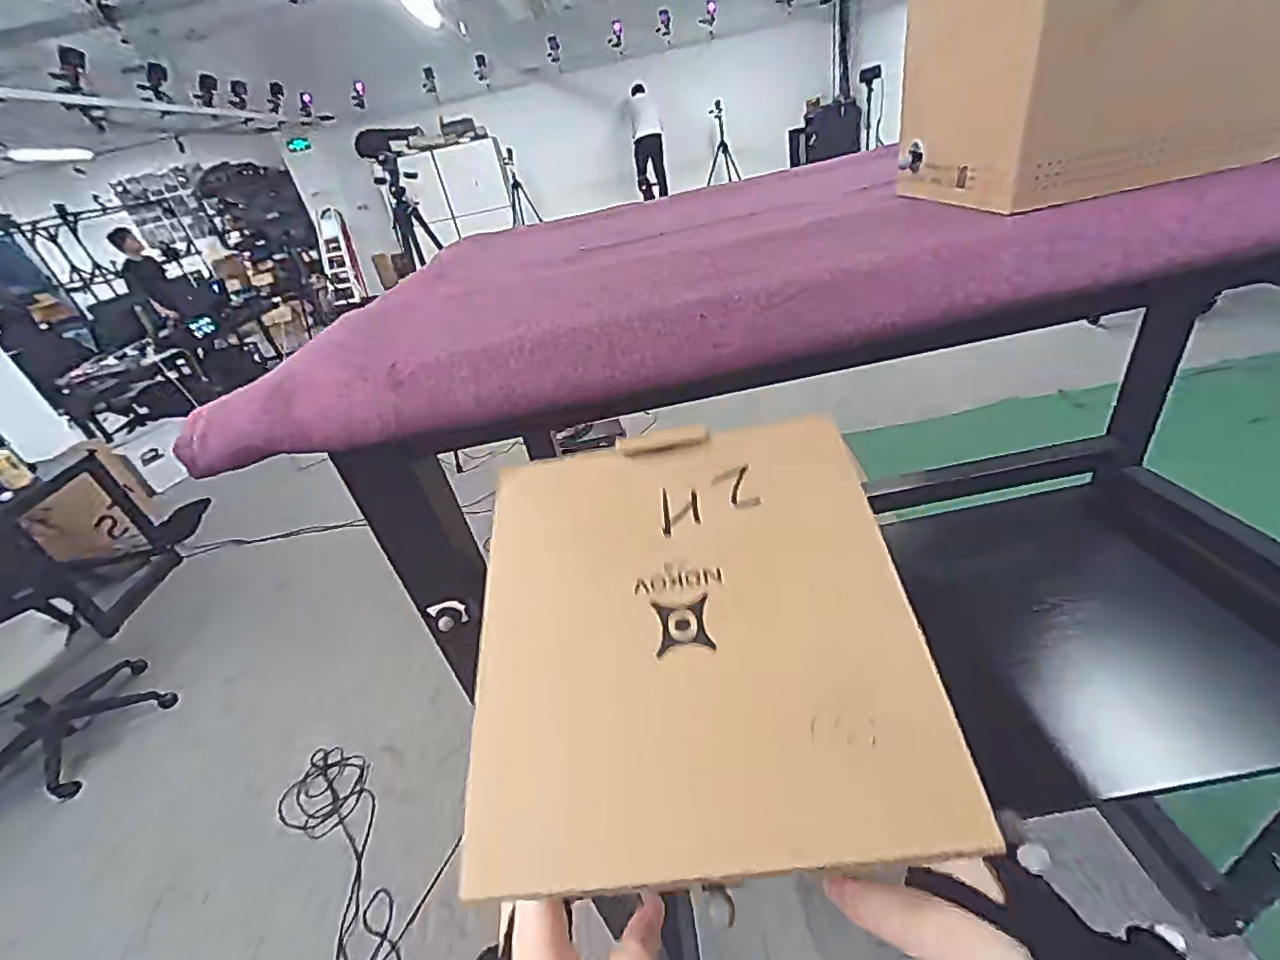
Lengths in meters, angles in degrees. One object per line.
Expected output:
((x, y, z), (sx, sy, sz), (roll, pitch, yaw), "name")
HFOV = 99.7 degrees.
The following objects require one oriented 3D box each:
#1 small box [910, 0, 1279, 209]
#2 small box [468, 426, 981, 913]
((0.306, -0.298, 0.372), (0.179, 0.176, 0.168), (-10, 33, 2), "small box")
((0.031, 0.101, 0.280), (0.168, 0.176, 0.179), (-8, 54, 5), "small box")
